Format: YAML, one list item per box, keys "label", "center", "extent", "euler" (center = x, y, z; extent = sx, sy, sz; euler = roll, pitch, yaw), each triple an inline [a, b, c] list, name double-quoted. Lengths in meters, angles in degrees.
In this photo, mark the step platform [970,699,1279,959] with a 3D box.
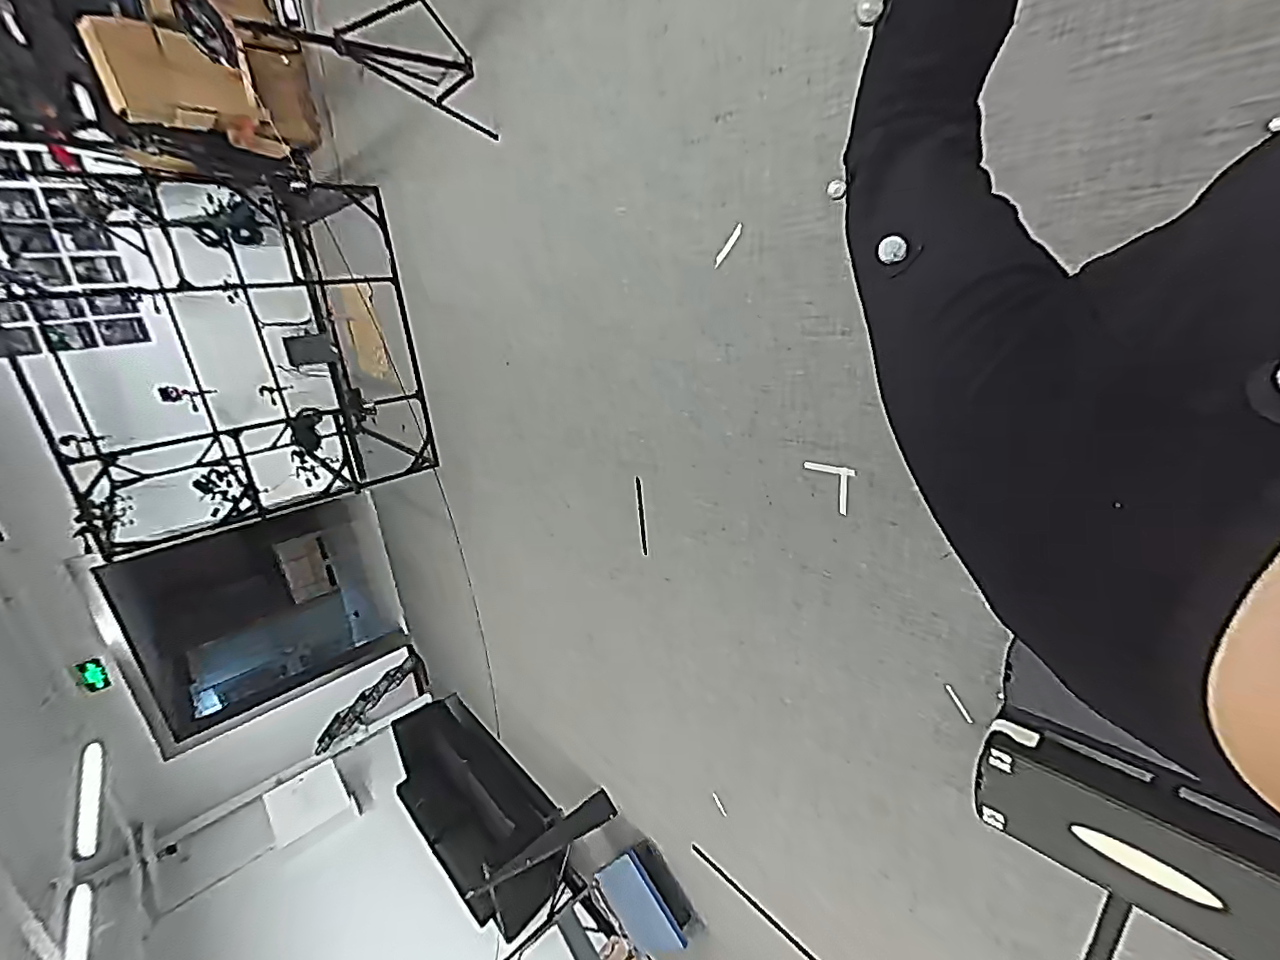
- label: "step platform"
  center: [1.174, 0.814, 1.270]
  extent: [0.684, 0.204, 0.286]
  euler: [15, 118, 48]
